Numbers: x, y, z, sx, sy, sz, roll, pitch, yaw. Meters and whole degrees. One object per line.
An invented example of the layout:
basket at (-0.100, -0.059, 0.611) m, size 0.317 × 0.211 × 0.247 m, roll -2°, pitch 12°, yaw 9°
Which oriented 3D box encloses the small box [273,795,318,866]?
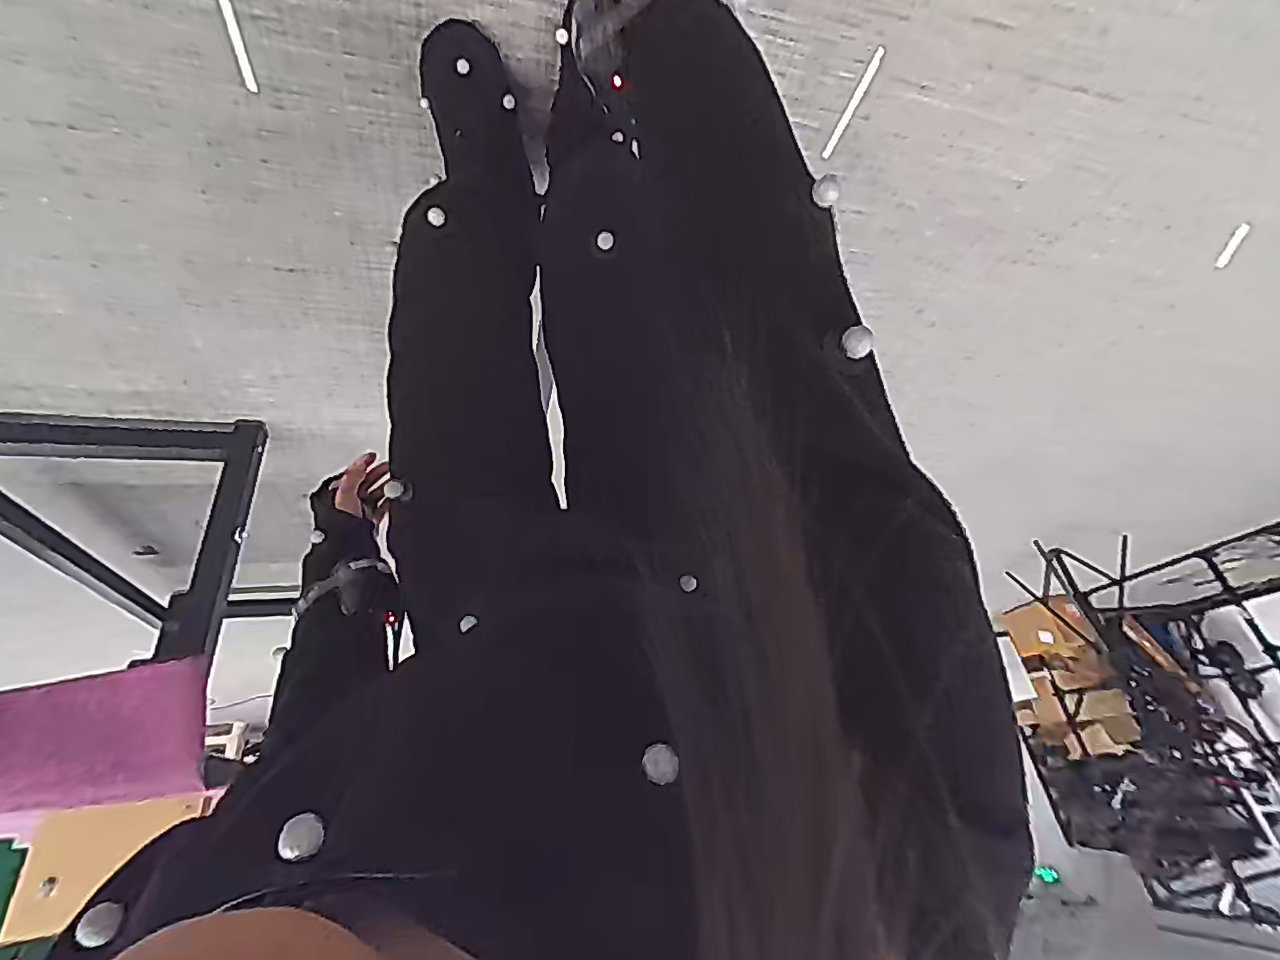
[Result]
small box at (-1.079, 1.040, 1.605) m, size 0.168 × 0.176 × 0.179 m, roll 0°, pitch 150°, yaw -15°
